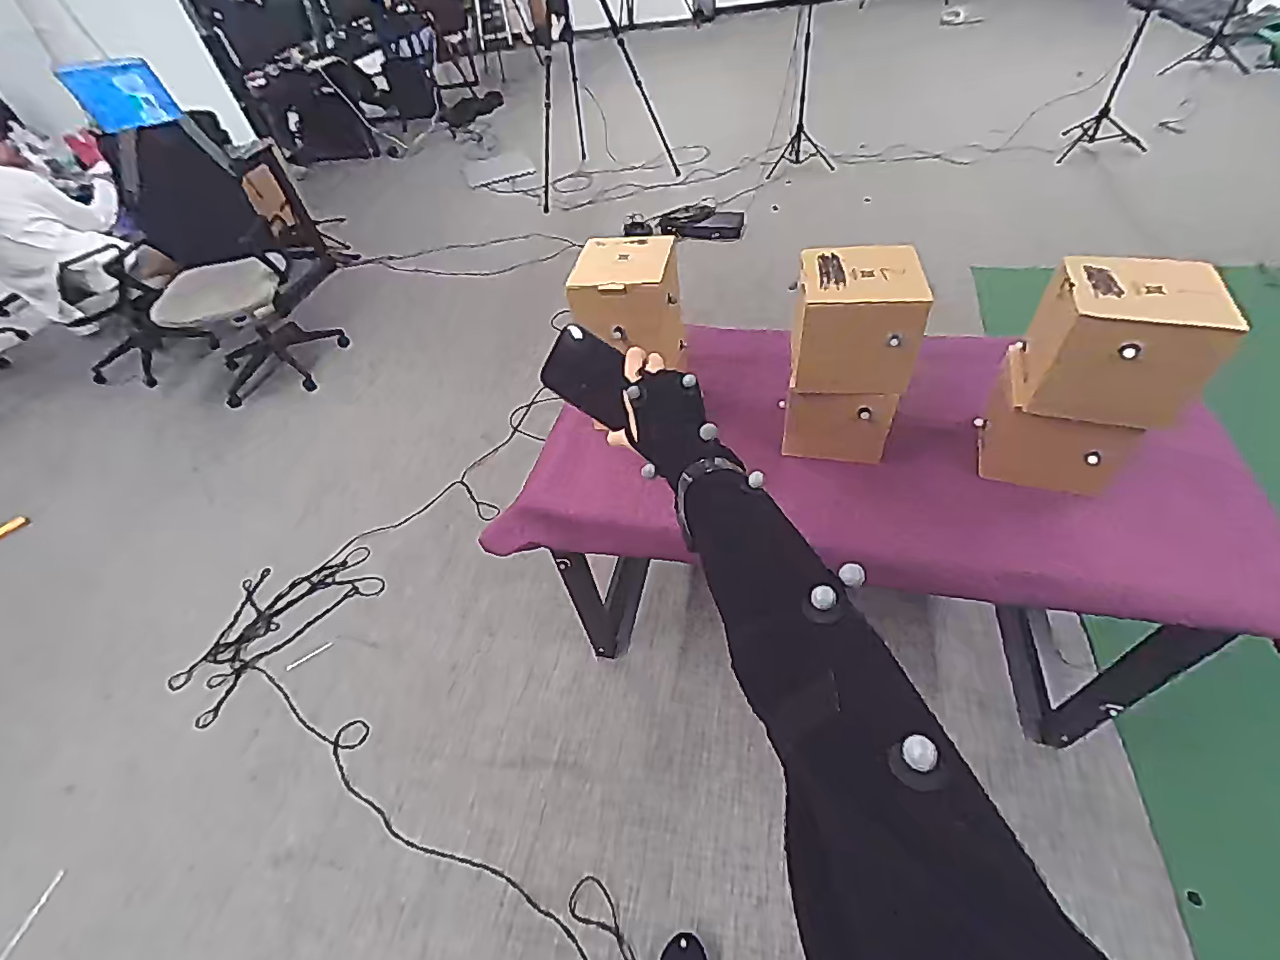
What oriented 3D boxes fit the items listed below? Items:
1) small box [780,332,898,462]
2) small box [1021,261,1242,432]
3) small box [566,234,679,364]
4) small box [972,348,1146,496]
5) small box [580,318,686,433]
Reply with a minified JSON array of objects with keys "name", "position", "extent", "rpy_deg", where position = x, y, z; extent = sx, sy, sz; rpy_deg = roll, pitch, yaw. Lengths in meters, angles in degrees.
[{"name":"small box","position":[0.363,-0.151,1.001],"extent":[0.179,0.176,0.168],"rpy_deg":[8,51,15]},{"name":"small box","position":[0.670,-0.189,0.770],"extent":[0.179,0.176,0.168],"rpy_deg":[13,52,19]},{"name":"small box","position":[-0.021,-0.332,1.000],"extent":[0.168,0.176,0.179],"rpy_deg":[5,51,12]},{"name":"small box","position":[0.684,-0.094,0.903],"extent":[0.179,0.176,0.168],"rpy_deg":[13,52,20]},{"name":"small box","position":[-0.004,-0.218,1.118],"extent":[0.168,0.176,0.179],"rpy_deg":[8,51,16]}]
